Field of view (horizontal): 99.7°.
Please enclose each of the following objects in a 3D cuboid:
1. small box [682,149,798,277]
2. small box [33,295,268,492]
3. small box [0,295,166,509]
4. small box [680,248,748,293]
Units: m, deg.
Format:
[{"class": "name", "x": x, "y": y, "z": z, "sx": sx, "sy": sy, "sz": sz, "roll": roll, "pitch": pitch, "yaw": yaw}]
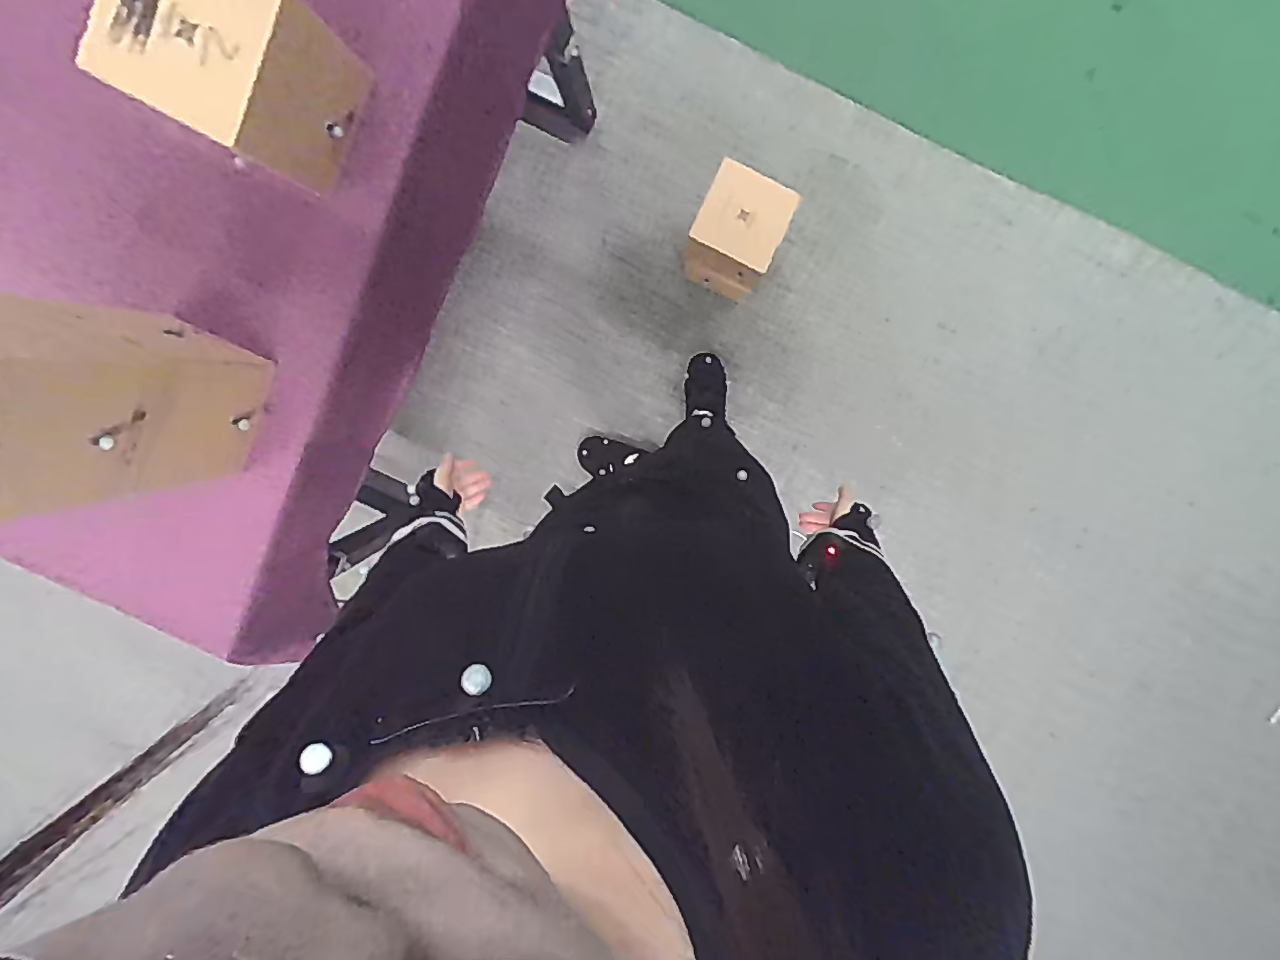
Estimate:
[{"class": "small box", "x": 0.202, "y": -0.550, "z": 1.145, "sx": 0.179, "sy": 0.176, "sz": 0.168, "roll": 26, "pitch": 99, "yaw": -2}, {"class": "small box", "x": -0.622, "y": -0.109, "z": 0.690, "sx": 0.168, "sy": 0.176, "sz": 0.179, "roll": 24, "pitch": 100, "yaw": -2}, {"class": "small box", "x": -0.634, "y": -0.080, "z": 0.527, "sx": 0.179, "sy": 0.176, "sz": 0.168, "roll": 26, "pitch": 102, "yaw": -3}, {"class": "small box", "x": 0.206, "y": -0.572, "z": 1.306, "sx": 0.168, "sy": 0.176, "sz": 0.179, "roll": 24, "pitch": 101, "yaw": -2}]
